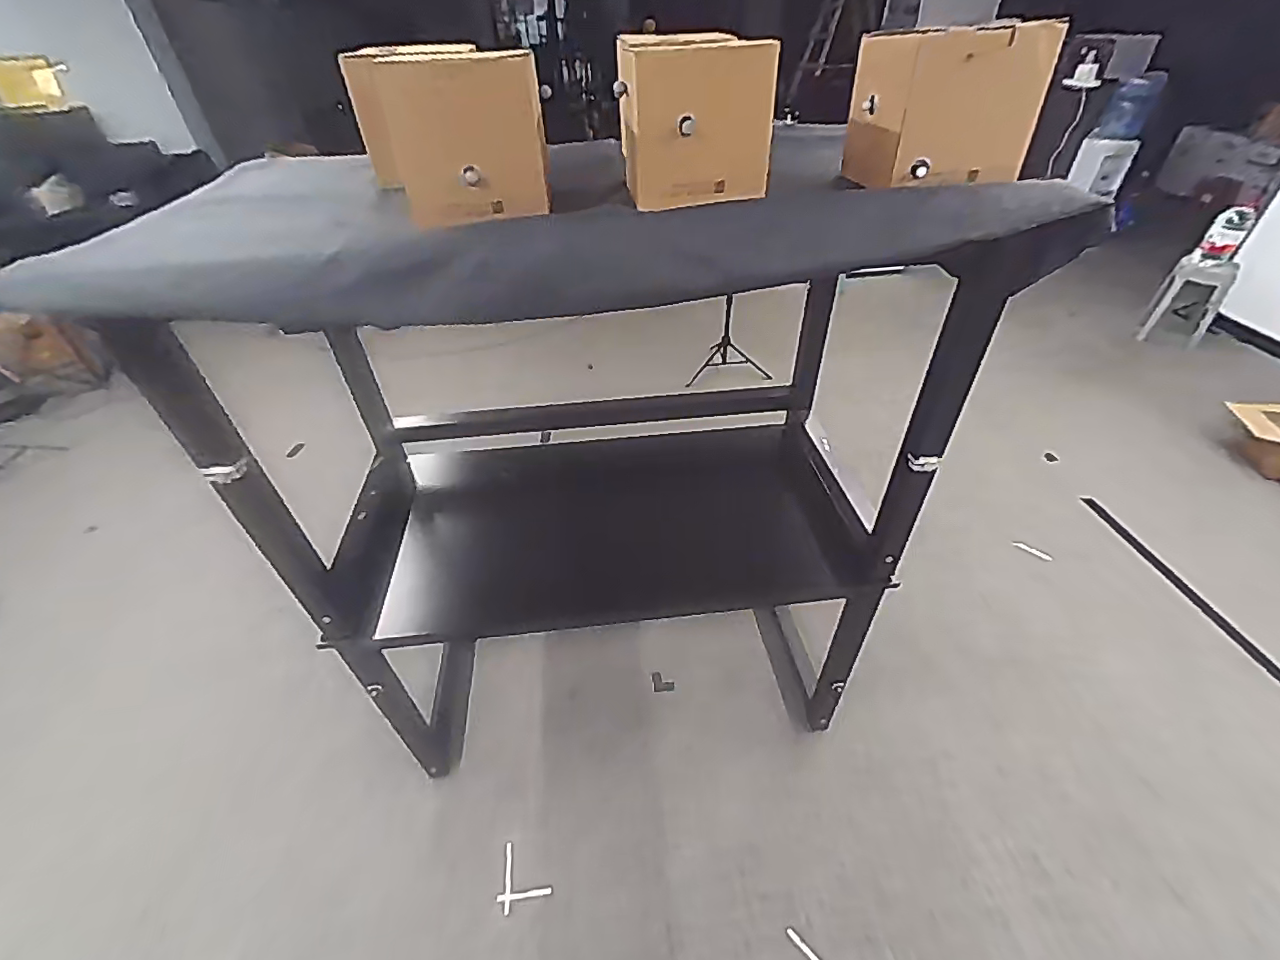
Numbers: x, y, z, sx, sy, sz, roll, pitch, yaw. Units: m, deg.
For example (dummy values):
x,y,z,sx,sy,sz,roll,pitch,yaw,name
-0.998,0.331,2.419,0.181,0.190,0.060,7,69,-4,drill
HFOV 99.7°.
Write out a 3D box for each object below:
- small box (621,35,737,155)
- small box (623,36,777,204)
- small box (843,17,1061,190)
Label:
x,y,z,sx,sy,sz,roll,pitch,yaw,name
0.058,-0.635,0.908,0.168,0.176,0.179,-6,40,-4,small box
0.070,-0.470,0.714,0.168,0.176,0.179,-6,38,-3,small box
0.386,-0.486,0.710,0.168,0.176,0.179,-4,37,-1,small box
